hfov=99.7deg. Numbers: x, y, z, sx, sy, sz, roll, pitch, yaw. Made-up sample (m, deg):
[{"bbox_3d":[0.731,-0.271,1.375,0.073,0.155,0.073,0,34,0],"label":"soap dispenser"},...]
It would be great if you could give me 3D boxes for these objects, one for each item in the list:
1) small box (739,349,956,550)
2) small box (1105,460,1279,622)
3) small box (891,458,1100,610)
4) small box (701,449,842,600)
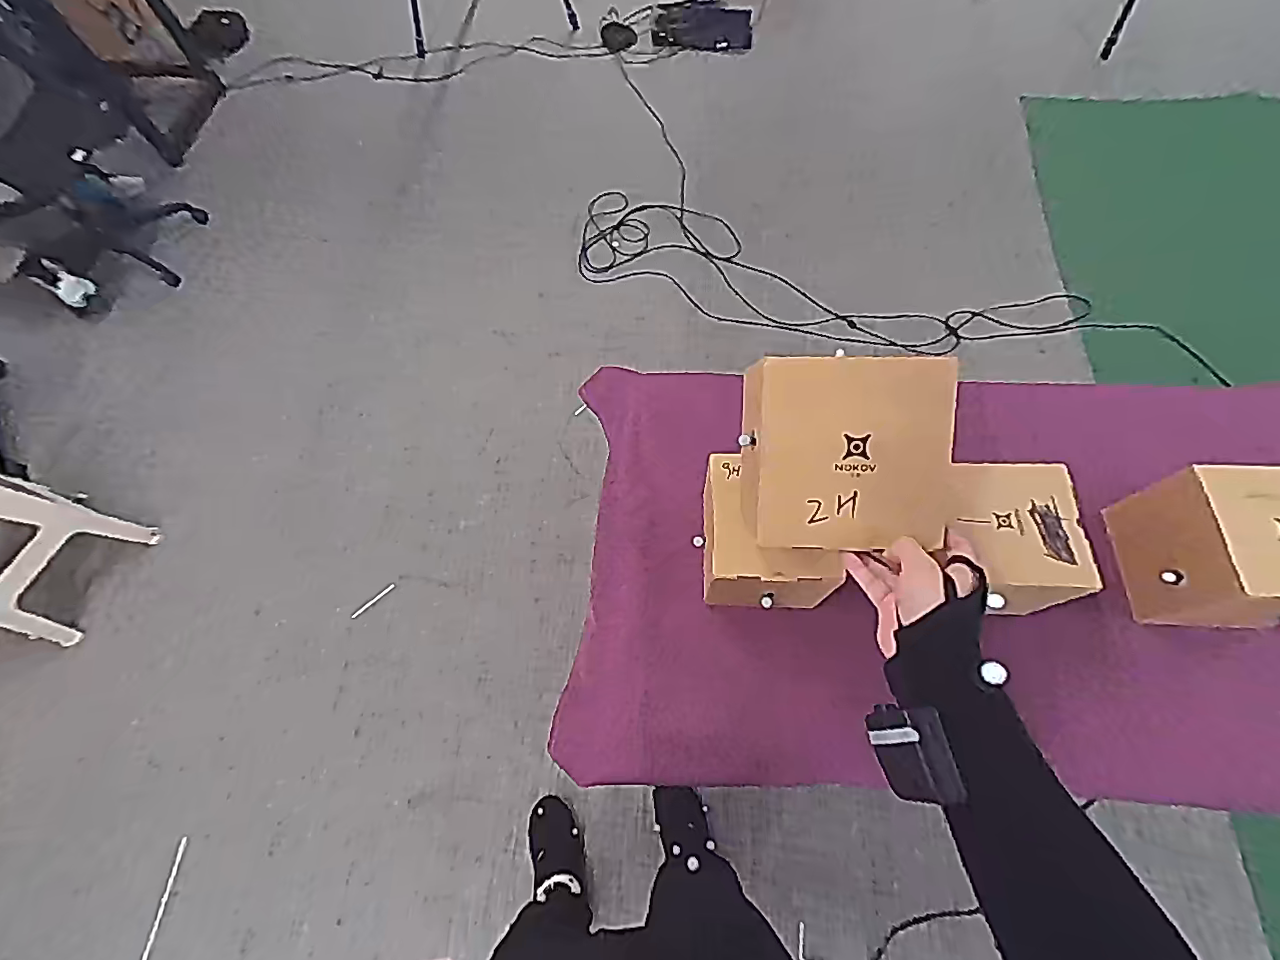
[{"bbox_3d":[0.194,-0.036,0.557,0.168,0.176,0.179,2,98,5],"label":"small box"},{"bbox_3d":[0.785,0.088,0.725,0.168,0.176,0.179,2,66,4],"label":"small box"},{"bbox_3d":[0.466,0.080,0.747,0.179,0.176,0.168,1,66,5],"label":"small box"},{"bbox_3d":[0.176,0.070,0.769,0.168,0.176,0.179,1,67,4],"label":"small box"}]
